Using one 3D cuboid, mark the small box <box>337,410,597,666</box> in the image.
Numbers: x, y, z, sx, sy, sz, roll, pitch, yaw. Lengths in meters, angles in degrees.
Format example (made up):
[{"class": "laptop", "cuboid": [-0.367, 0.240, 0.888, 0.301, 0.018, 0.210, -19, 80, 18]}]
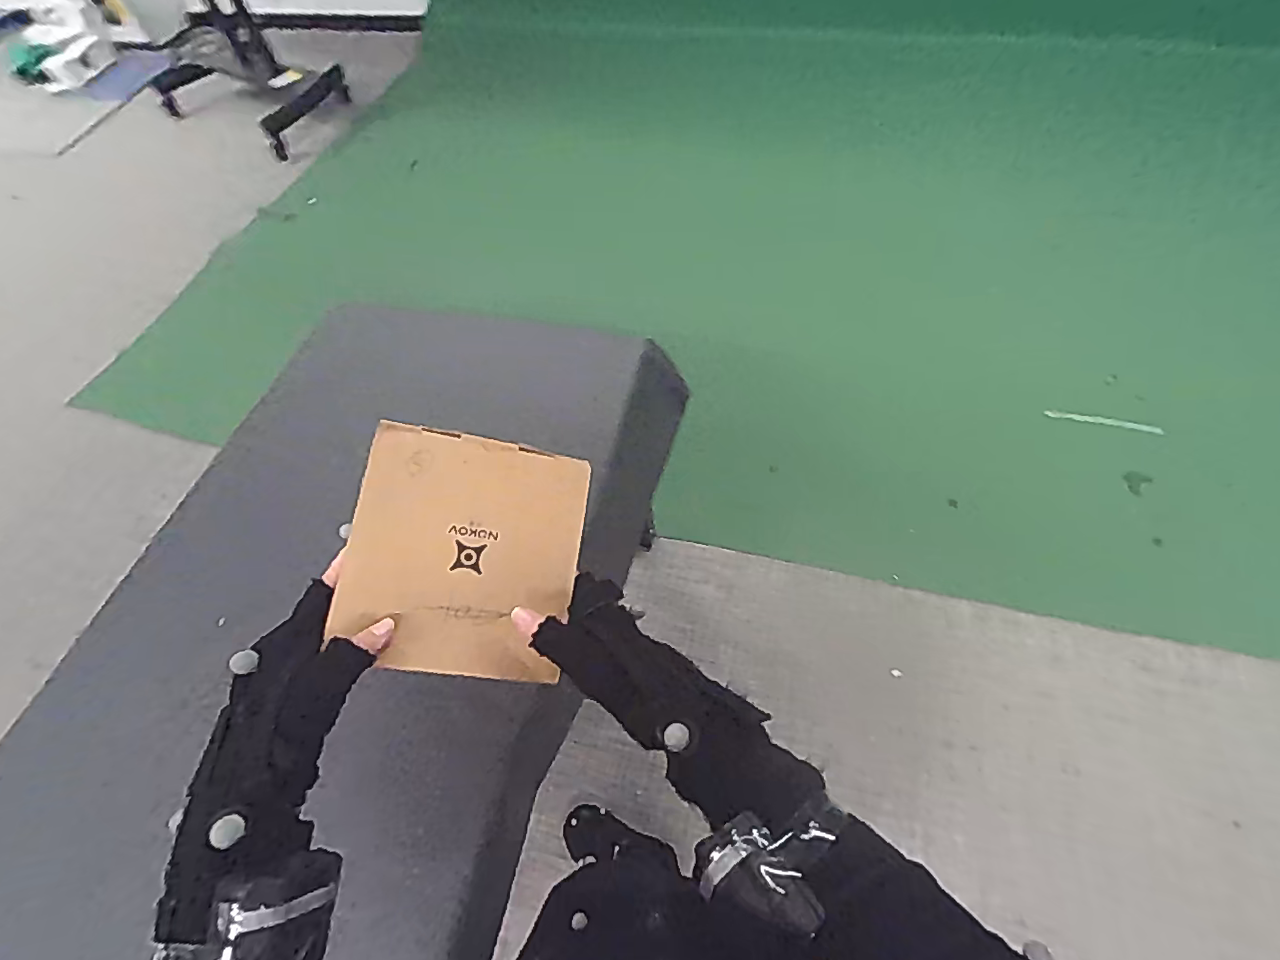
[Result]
[{"class": "small box", "cuboid": [-0.146, 0.057, 0.485, 0.168, 0.176, 0.179, 10, 79, -15]}]
